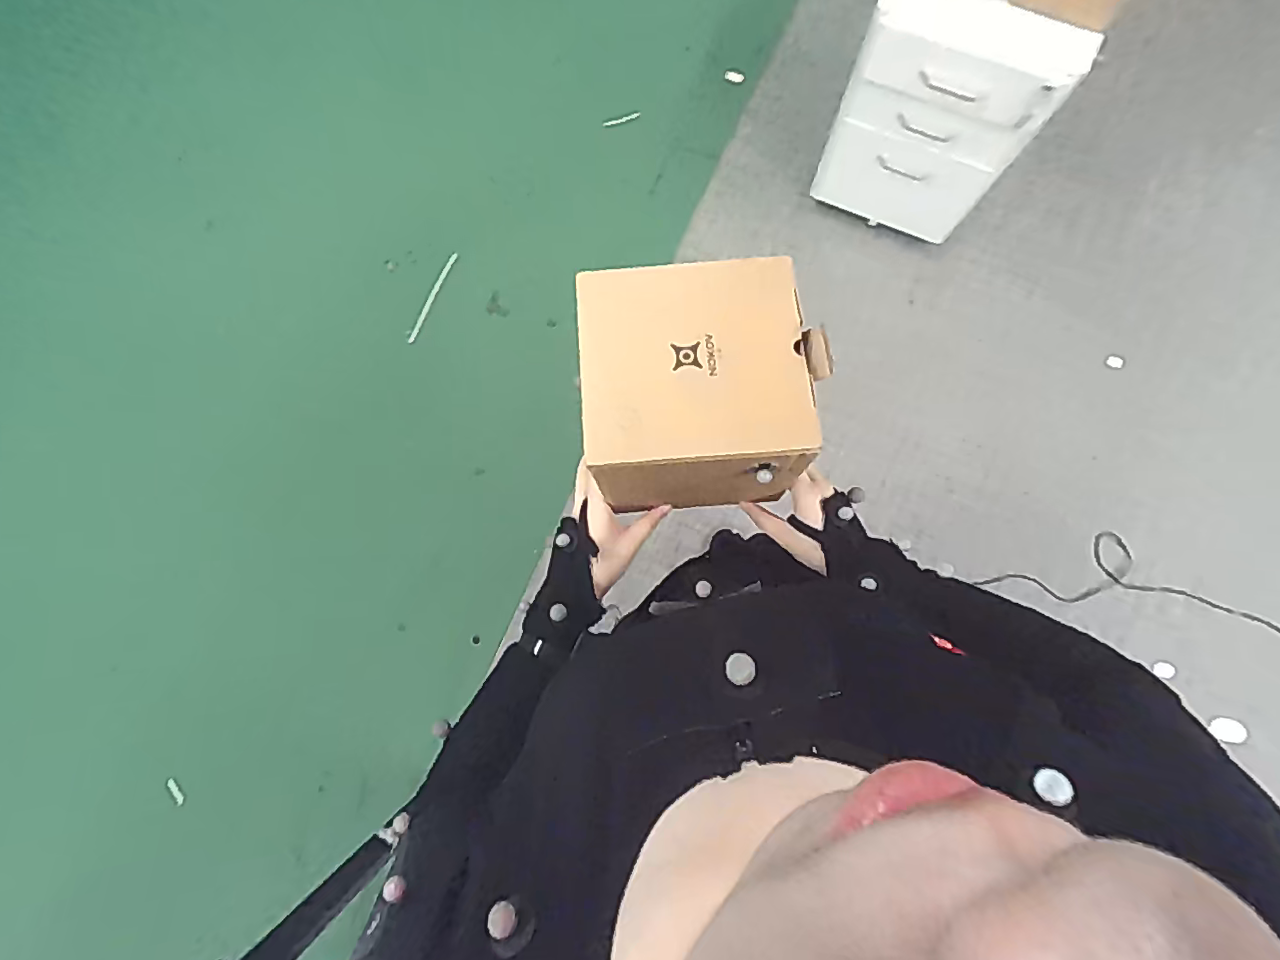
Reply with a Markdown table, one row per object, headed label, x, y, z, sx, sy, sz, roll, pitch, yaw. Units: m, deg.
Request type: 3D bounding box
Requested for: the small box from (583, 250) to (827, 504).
| label | x | y | z | sx | sy | sz | roll | pitch | yaw |
| --- | --- | --- | --- | --- | --- | --- | --- | --- | --- |
| small box | 0.048 | -0.078 | 0.488 | 0.179 | 0.176 | 0.168 | -4 | 74 | 0 |
